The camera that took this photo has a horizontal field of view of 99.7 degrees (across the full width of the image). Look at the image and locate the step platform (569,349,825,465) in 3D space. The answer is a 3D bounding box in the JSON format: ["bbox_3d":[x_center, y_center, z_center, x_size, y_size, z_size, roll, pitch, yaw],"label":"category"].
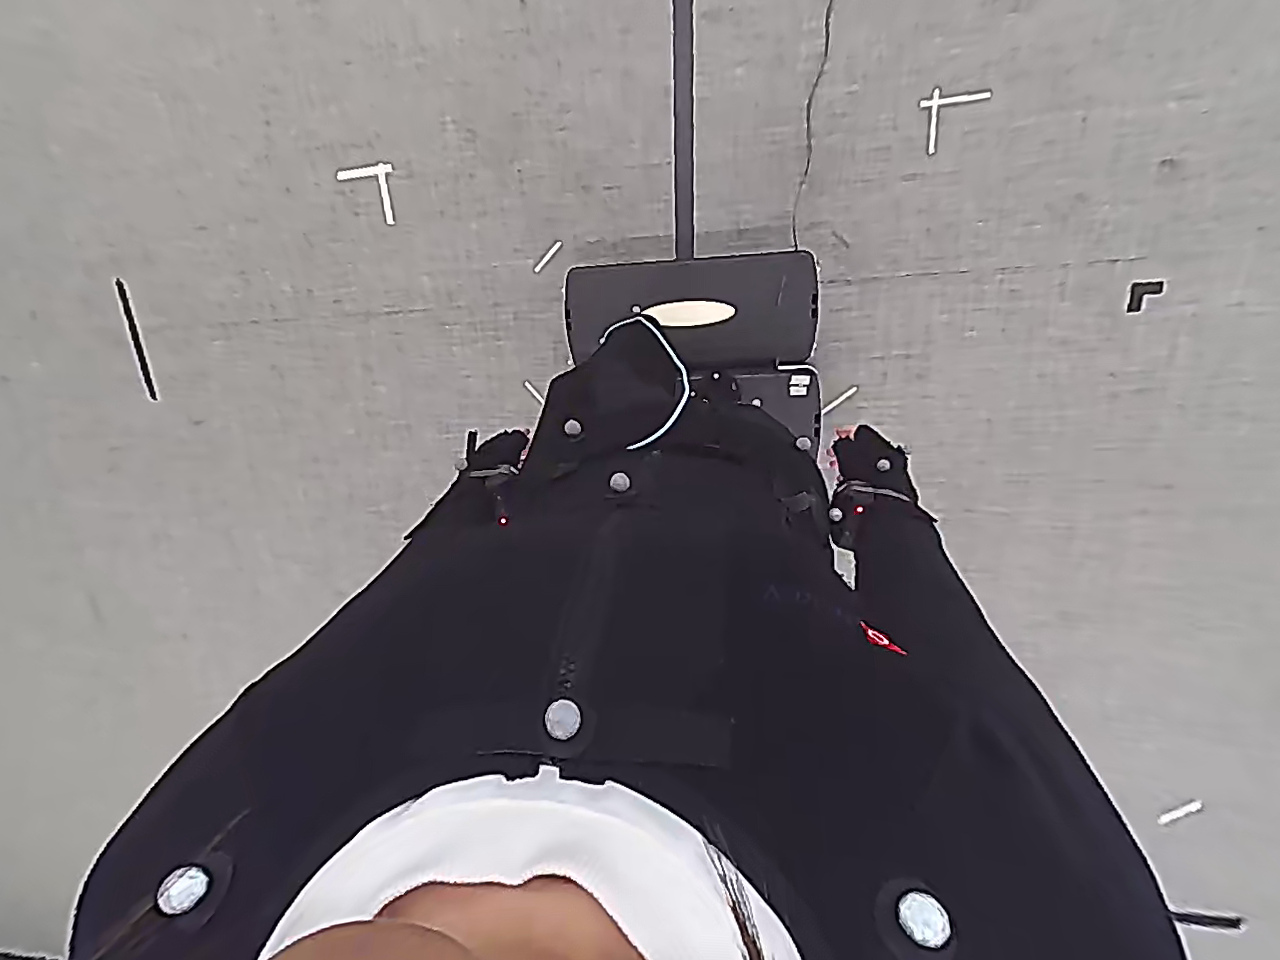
[{"bbox_3d":[0.149,-0.196,1.485,0.684,0.204,0.286,-1,105,11],"label":"step platform"}]
